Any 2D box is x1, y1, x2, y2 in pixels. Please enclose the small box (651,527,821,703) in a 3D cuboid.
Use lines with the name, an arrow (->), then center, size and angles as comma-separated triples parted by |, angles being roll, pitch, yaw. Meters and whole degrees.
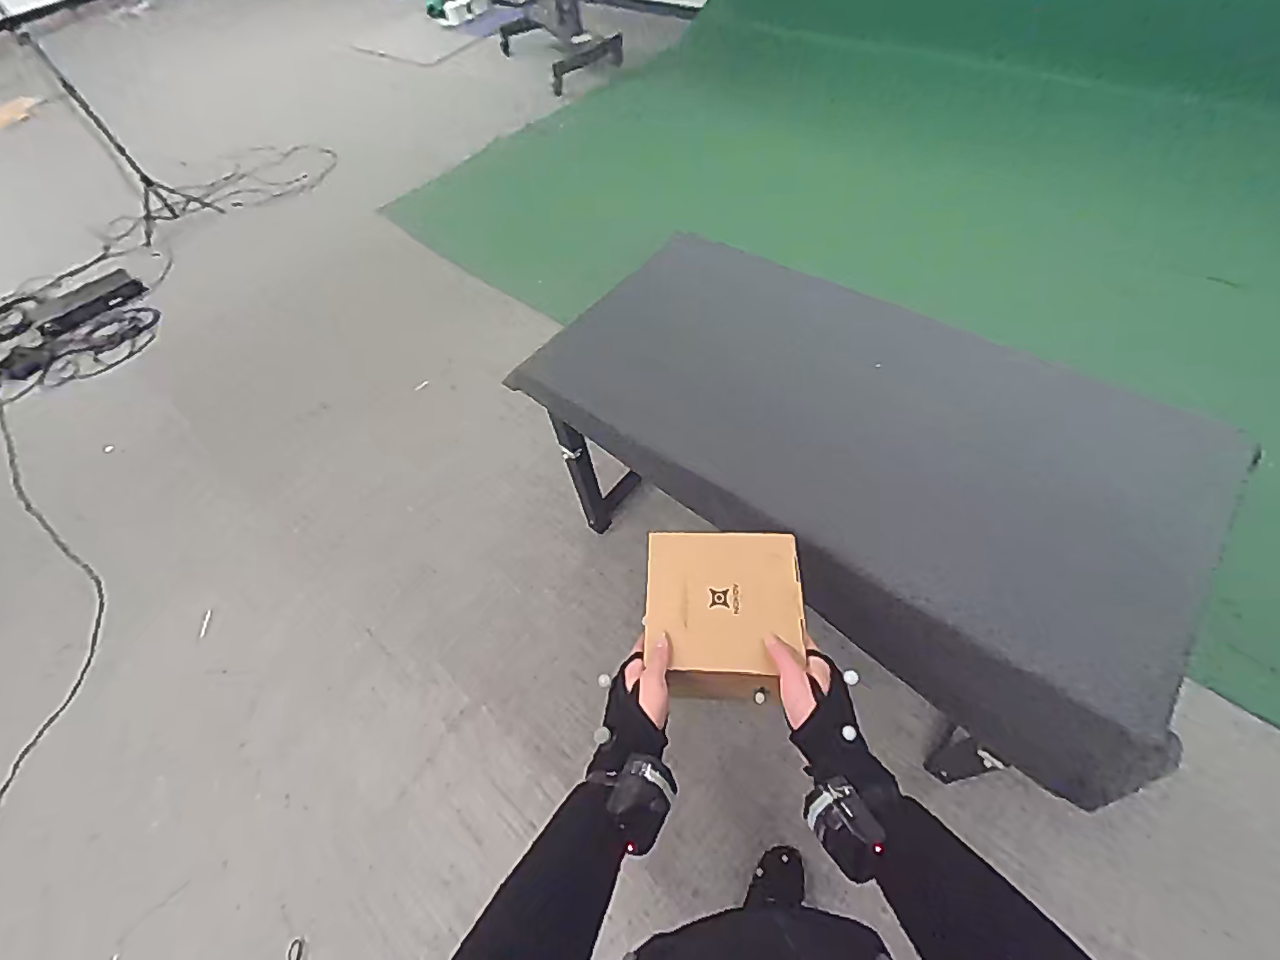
small box -> 0.106, 0.169, 0.663 | 0.179, 0.176, 0.168 | -1, 56, 4
